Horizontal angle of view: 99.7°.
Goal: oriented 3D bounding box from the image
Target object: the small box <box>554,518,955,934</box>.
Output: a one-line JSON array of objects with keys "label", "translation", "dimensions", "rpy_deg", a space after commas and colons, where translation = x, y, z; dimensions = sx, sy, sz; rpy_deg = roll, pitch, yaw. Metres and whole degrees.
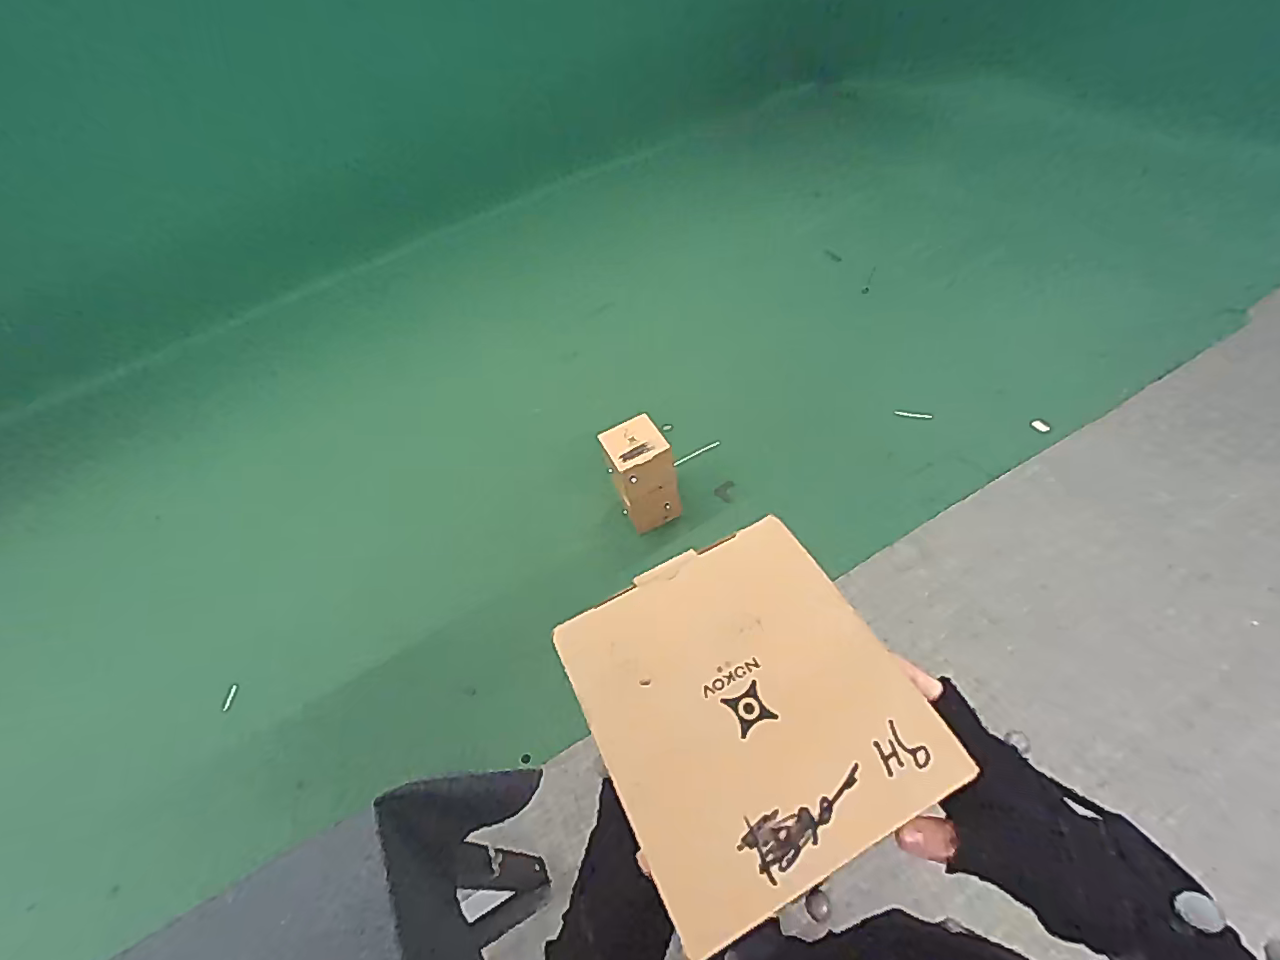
[{"label": "small box", "translation": [0.061, 0.164, 0.372], "dimensions": [0.168, 0.176, 0.179], "rpy_deg": [-26, 55, -9]}]

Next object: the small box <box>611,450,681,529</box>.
[{"label": "small box", "translation": [0.023, 0.039, 1.779], "dimensions": [0.168, 0.176, 0.179], "rpy_deg": [-25, 51, -7]}]
